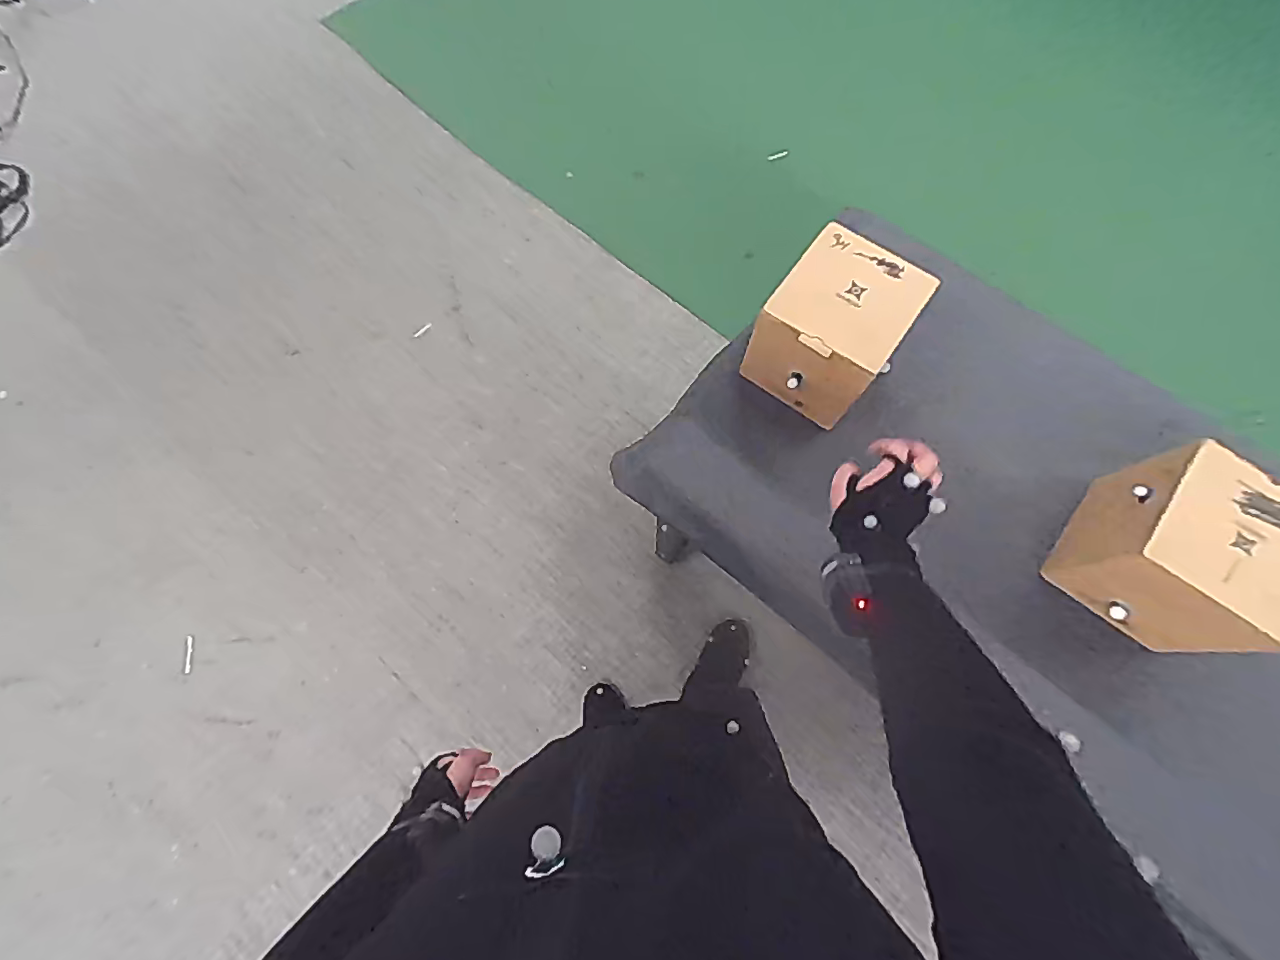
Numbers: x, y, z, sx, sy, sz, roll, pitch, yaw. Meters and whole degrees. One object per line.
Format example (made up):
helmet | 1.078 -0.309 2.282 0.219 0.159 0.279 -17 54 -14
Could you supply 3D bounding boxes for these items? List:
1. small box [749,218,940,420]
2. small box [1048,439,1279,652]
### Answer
small box | 0.270 -0.214 0.760 0.168 0.176 0.179 36 77 11
small box | 0.656 0.086 0.658 0.168 0.176 0.179 38 78 12
